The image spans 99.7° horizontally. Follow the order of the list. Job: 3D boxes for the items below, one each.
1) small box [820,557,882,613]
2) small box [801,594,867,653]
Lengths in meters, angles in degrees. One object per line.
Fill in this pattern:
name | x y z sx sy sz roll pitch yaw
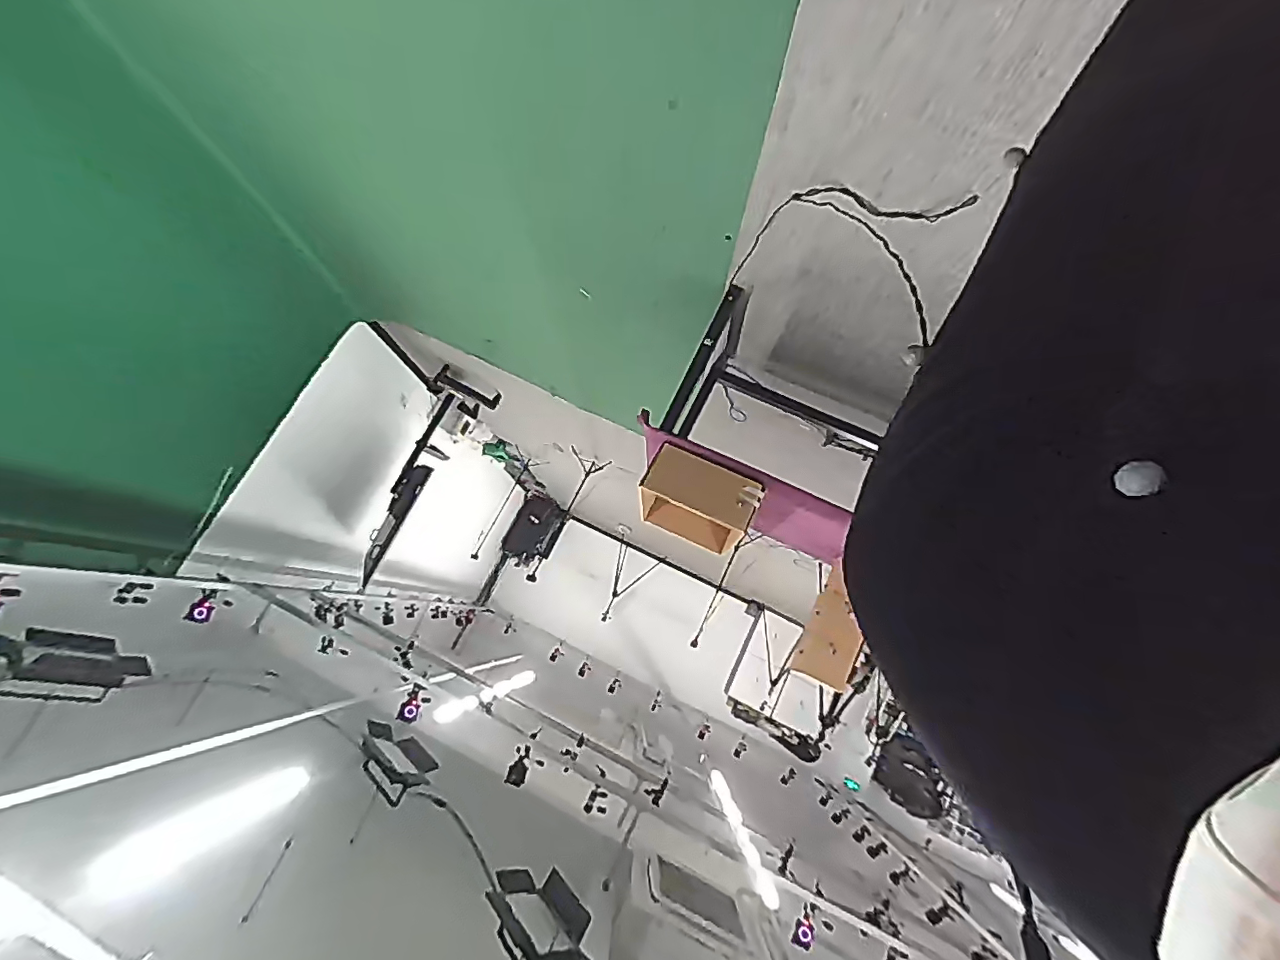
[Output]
small box | 0.841 0.419 2.155 0.168 0.176 0.179 25 167 9
small box | 0.762 0.559 2.121 0.168 0.176 0.179 26 166 5
